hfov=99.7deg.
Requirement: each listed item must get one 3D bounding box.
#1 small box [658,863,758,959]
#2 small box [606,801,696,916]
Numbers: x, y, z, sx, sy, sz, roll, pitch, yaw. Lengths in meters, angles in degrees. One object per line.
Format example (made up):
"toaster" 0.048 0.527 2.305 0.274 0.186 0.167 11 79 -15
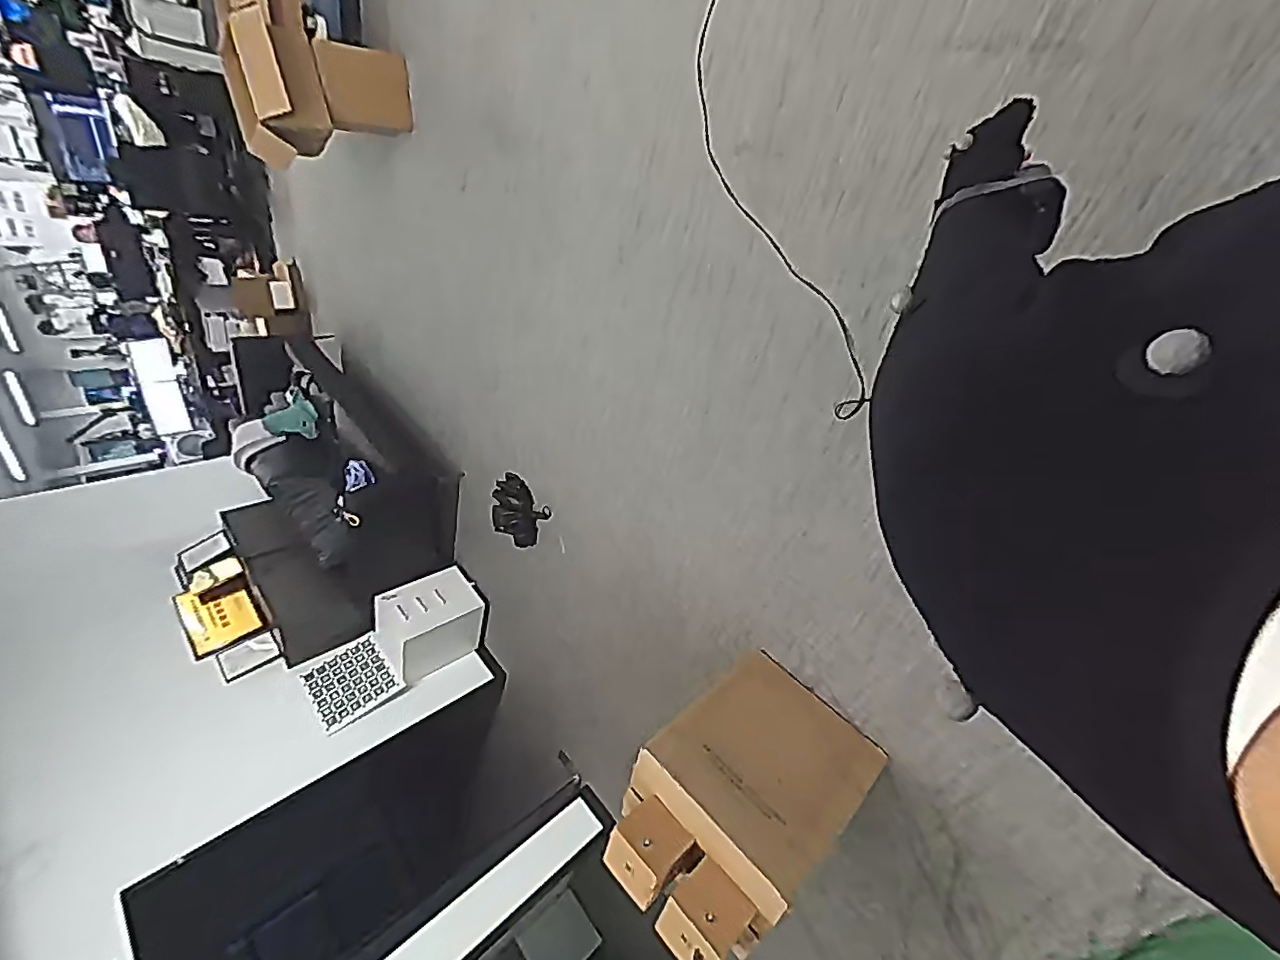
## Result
"small box" 0.182 1.175 1.430 0.179 0.176 0.168 34 122 34
"small box" 0.035 1.074 1.549 0.179 0.176 0.168 33 120 35
